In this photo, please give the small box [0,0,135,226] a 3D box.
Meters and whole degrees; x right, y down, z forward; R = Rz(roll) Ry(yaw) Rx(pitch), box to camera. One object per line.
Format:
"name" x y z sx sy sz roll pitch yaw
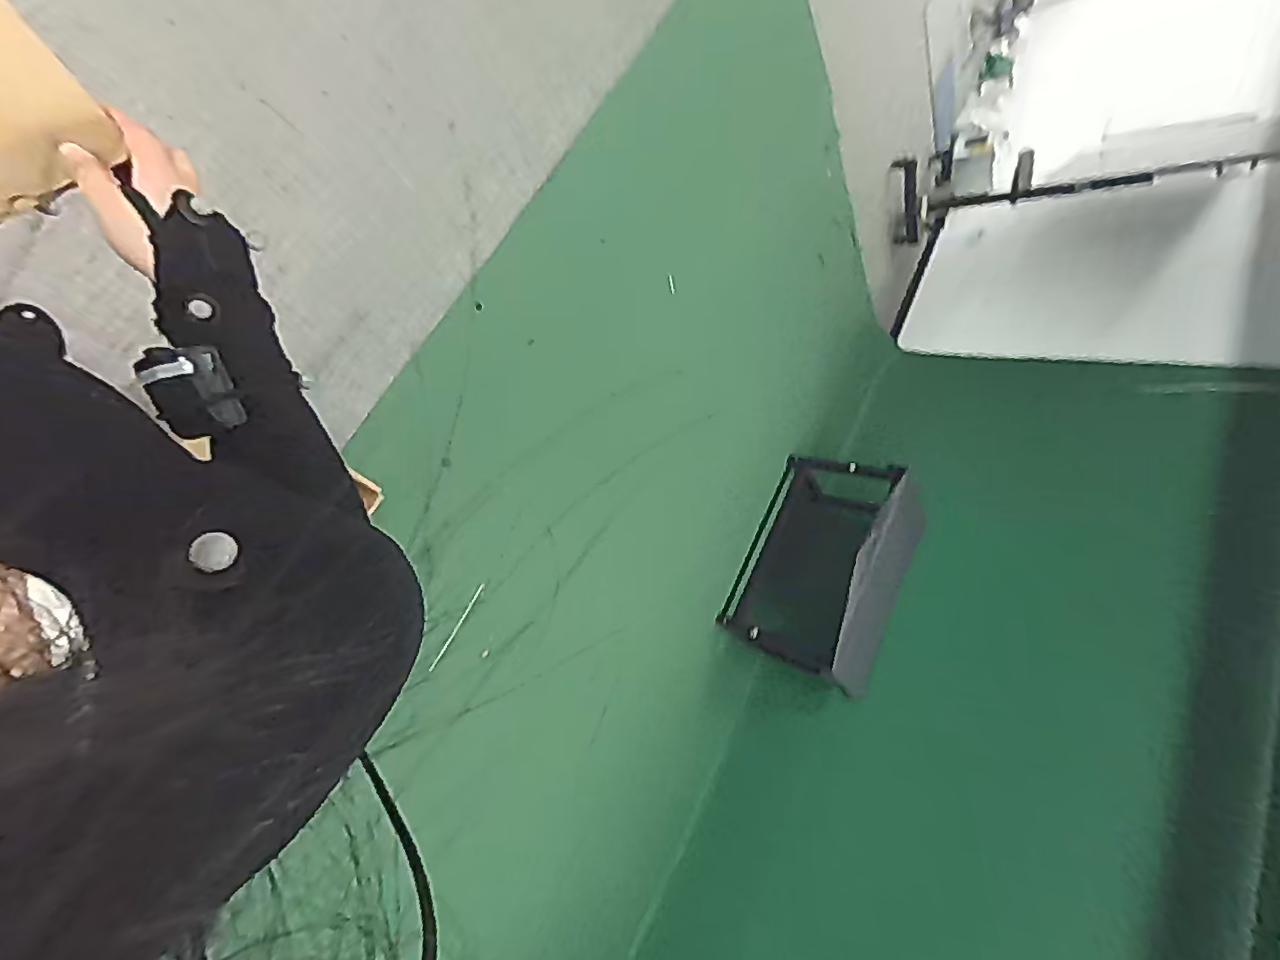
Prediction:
"small box" -0.504 -0.274 0.365 0.168 0.176 0.179 -42 139 -16
